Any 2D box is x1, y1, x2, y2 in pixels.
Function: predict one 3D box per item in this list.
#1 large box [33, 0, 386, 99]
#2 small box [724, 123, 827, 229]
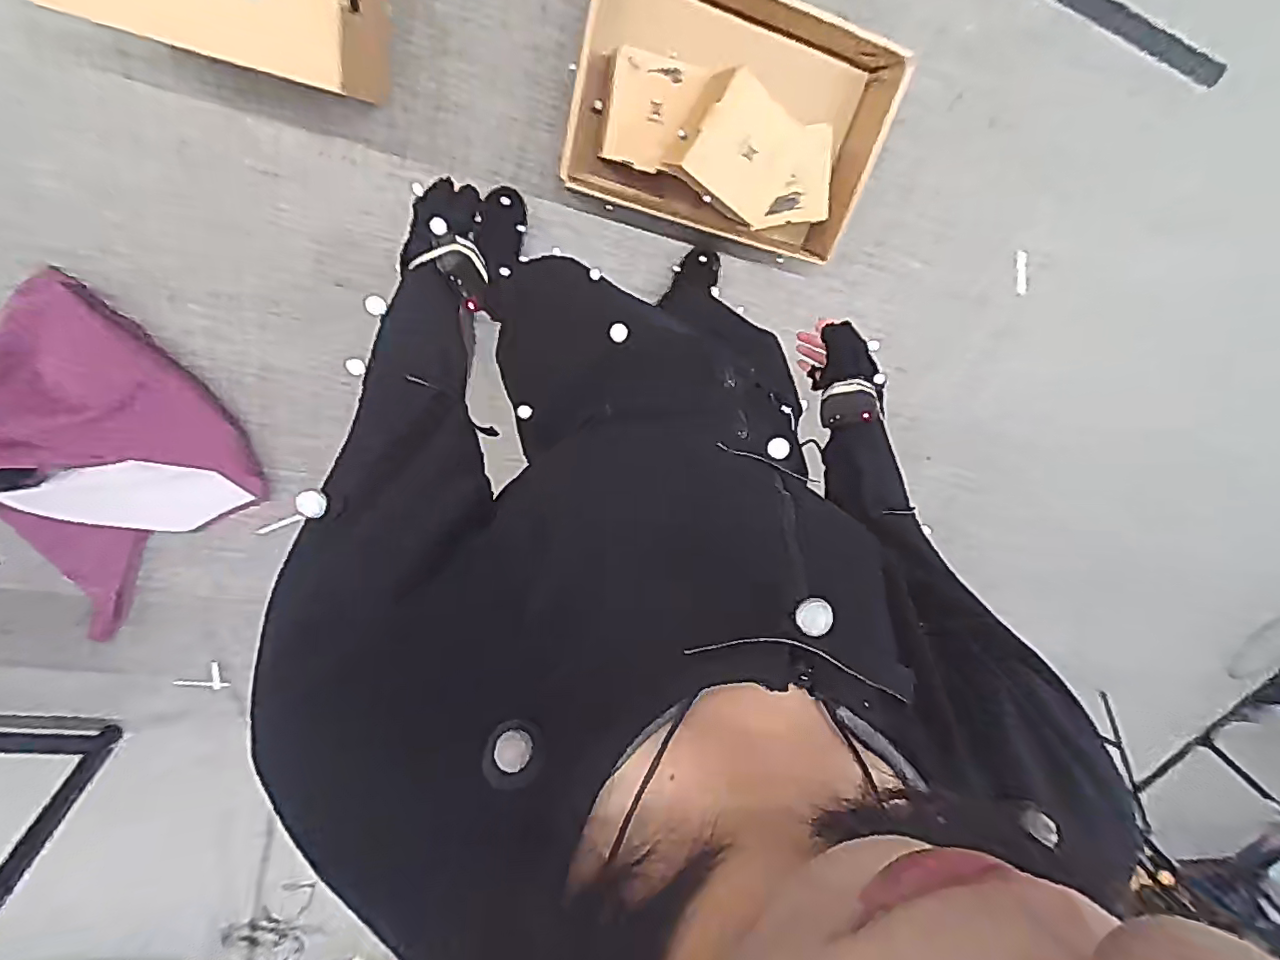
[{"bbox_3d":[-0.642,-0.841,0.842,0.408,0.320,0.320,7,120,-15],"label":"large box"},{"bbox_3d":[0.281,-0.649,1.154,0.168,0.176,0.179,-9,121,-3],"label":"small box"}]
